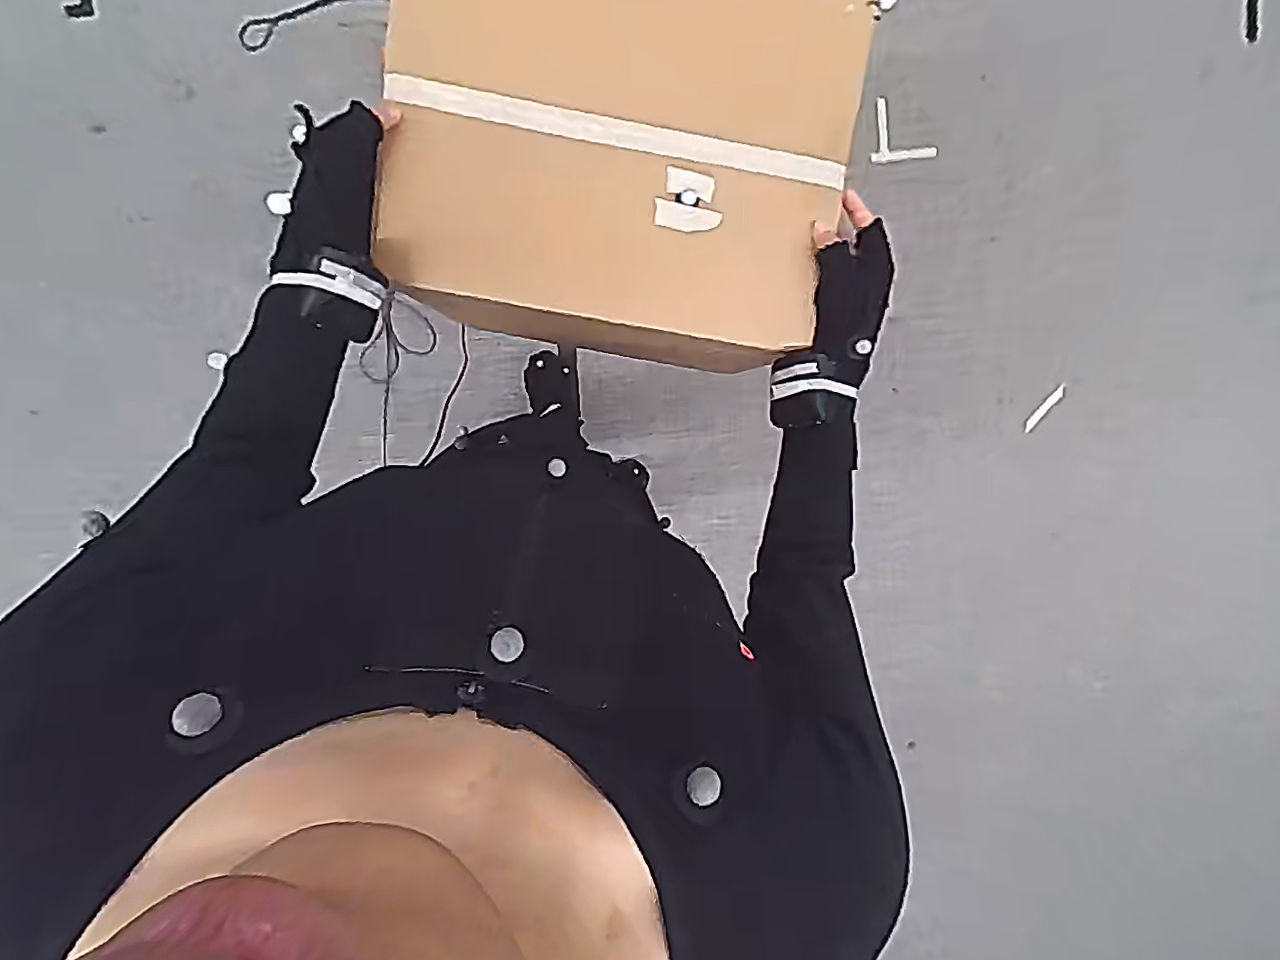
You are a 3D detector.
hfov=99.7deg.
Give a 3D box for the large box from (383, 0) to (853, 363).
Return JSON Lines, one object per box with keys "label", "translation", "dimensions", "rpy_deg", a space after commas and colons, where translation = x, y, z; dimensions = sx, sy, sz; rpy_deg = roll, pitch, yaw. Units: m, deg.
{"label": "large box", "translation": [-0.033, -0.328, 0.637], "dimensions": [0.408, 0.320, 0.320], "rpy_deg": [8, 98, -5]}
